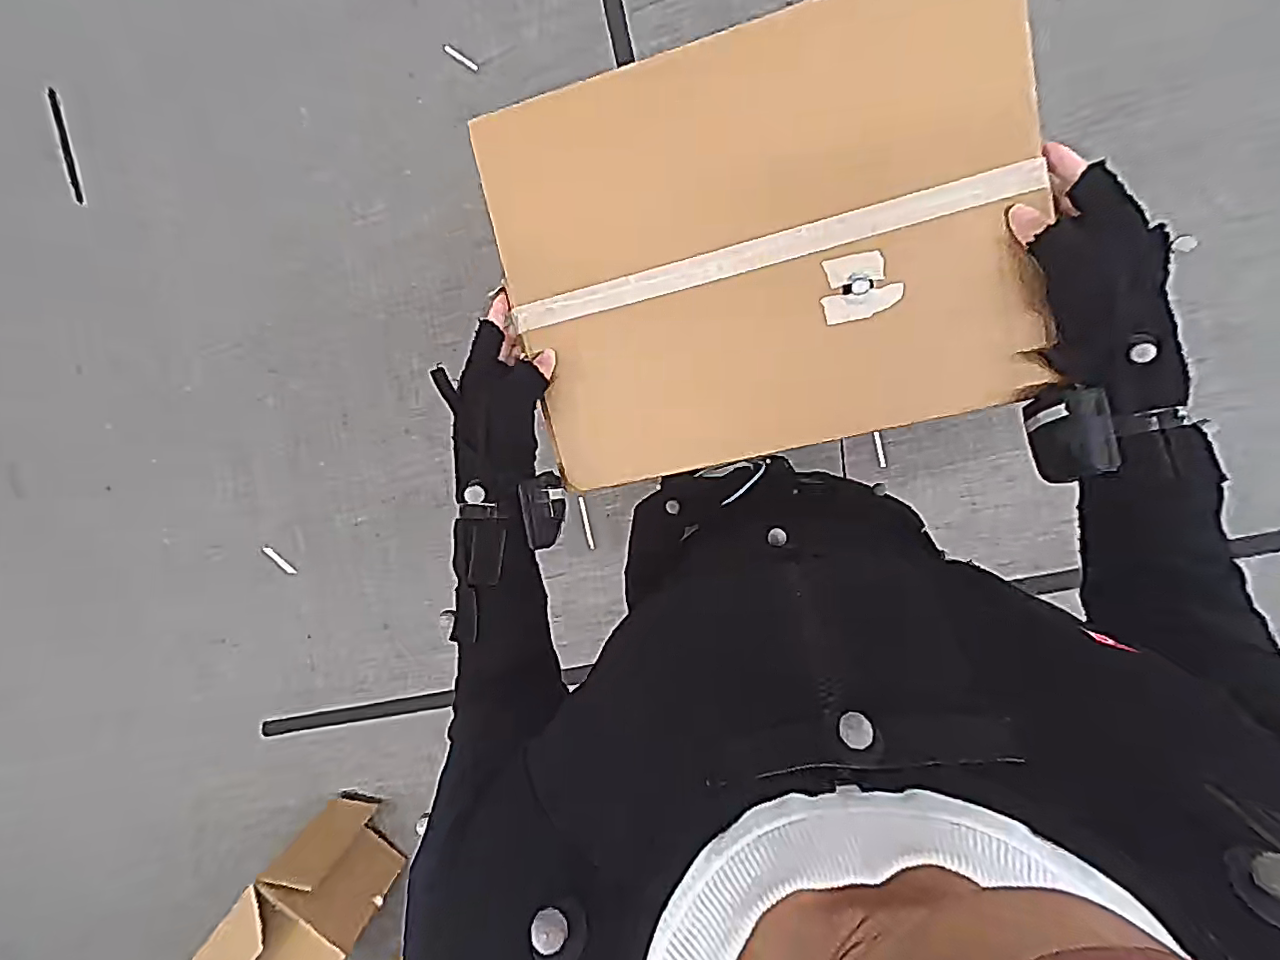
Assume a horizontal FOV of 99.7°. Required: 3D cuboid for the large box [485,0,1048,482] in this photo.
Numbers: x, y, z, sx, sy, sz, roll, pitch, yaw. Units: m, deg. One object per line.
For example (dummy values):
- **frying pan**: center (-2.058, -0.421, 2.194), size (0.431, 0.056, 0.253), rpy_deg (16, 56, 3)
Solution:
- **large box**: center (0.114, -0.210, 0.580), size (0.408, 0.320, 0.320), rpy_deg (-12, 100, 10)
